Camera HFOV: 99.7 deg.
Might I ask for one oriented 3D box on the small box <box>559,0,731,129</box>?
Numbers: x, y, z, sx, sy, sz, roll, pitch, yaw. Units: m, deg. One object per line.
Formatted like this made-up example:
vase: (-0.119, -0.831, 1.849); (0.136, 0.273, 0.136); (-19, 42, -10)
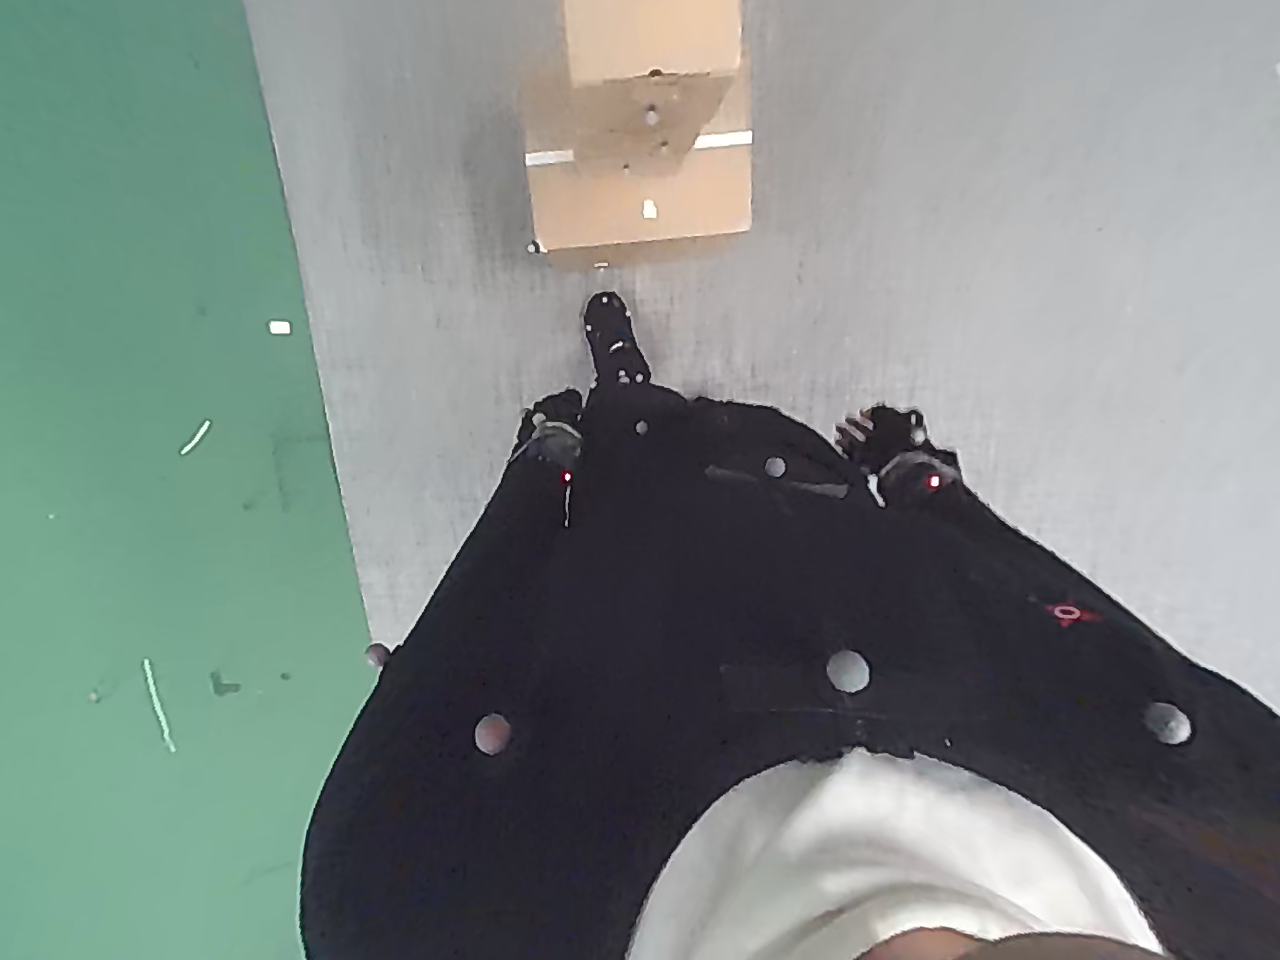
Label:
small box: (0.004, -0.493, 0.577); (0.168, 0.176, 0.179); (-4, 111, 0)

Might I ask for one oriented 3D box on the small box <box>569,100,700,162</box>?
small box: (-0.011, -0.546, 0.731); (0.168, 0.176, 0.179); (-5, 109, 0)

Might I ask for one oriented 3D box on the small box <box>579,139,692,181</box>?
small box: (-0.015, -0.599, 0.884); (0.179, 0.176, 0.168); (-5, 110, 1)
